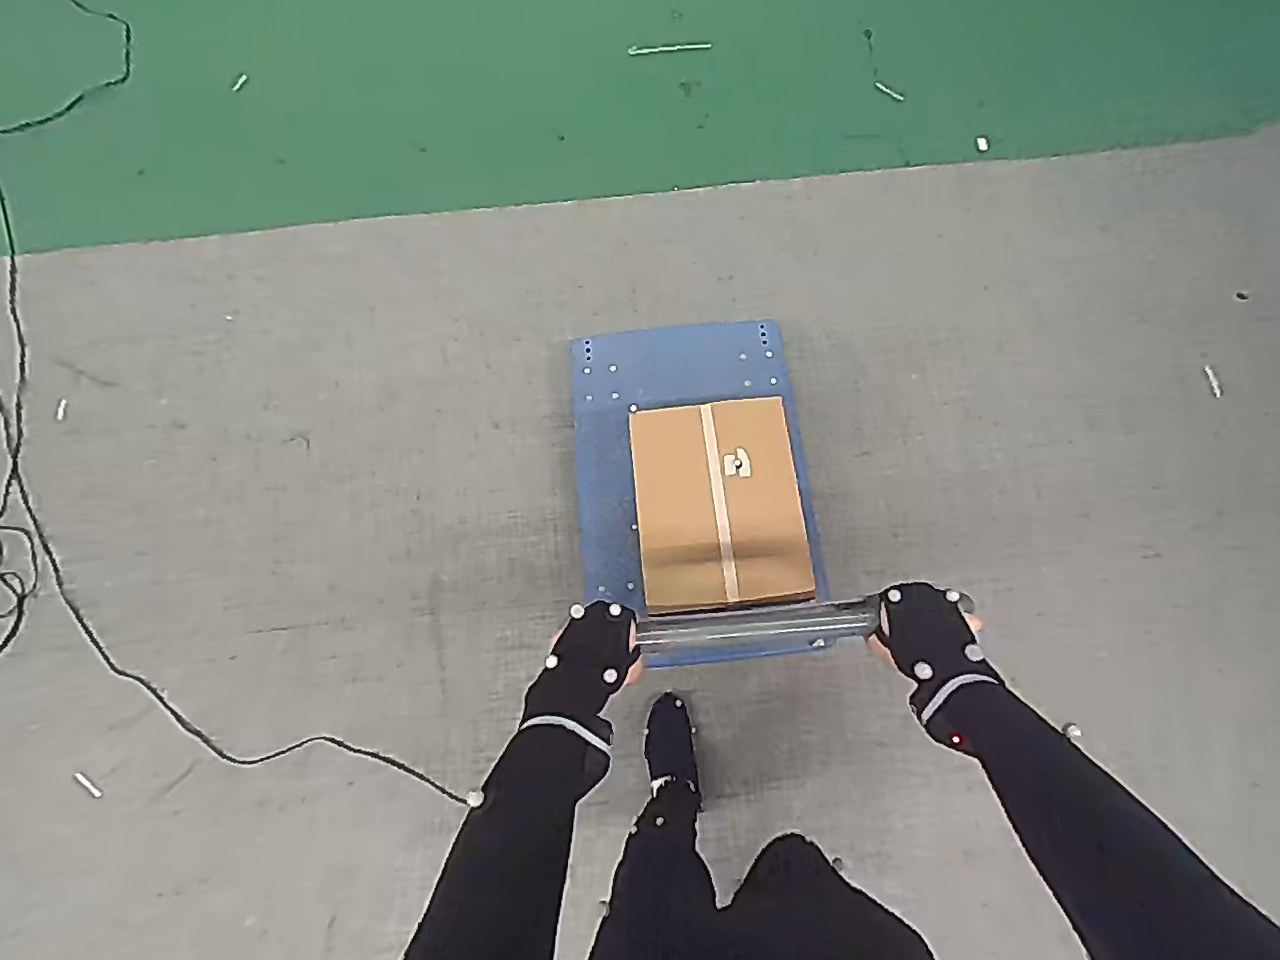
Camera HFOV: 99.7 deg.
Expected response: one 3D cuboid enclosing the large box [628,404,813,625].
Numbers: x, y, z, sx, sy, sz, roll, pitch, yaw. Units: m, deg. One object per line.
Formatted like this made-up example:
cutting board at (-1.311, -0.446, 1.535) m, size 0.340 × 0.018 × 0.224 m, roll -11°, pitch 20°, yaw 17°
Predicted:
large box at (0.155, 0.094, 1.193) m, size 0.320 × 0.320 × 0.408 m, roll -6°, pitch 72°, yaw 0°
